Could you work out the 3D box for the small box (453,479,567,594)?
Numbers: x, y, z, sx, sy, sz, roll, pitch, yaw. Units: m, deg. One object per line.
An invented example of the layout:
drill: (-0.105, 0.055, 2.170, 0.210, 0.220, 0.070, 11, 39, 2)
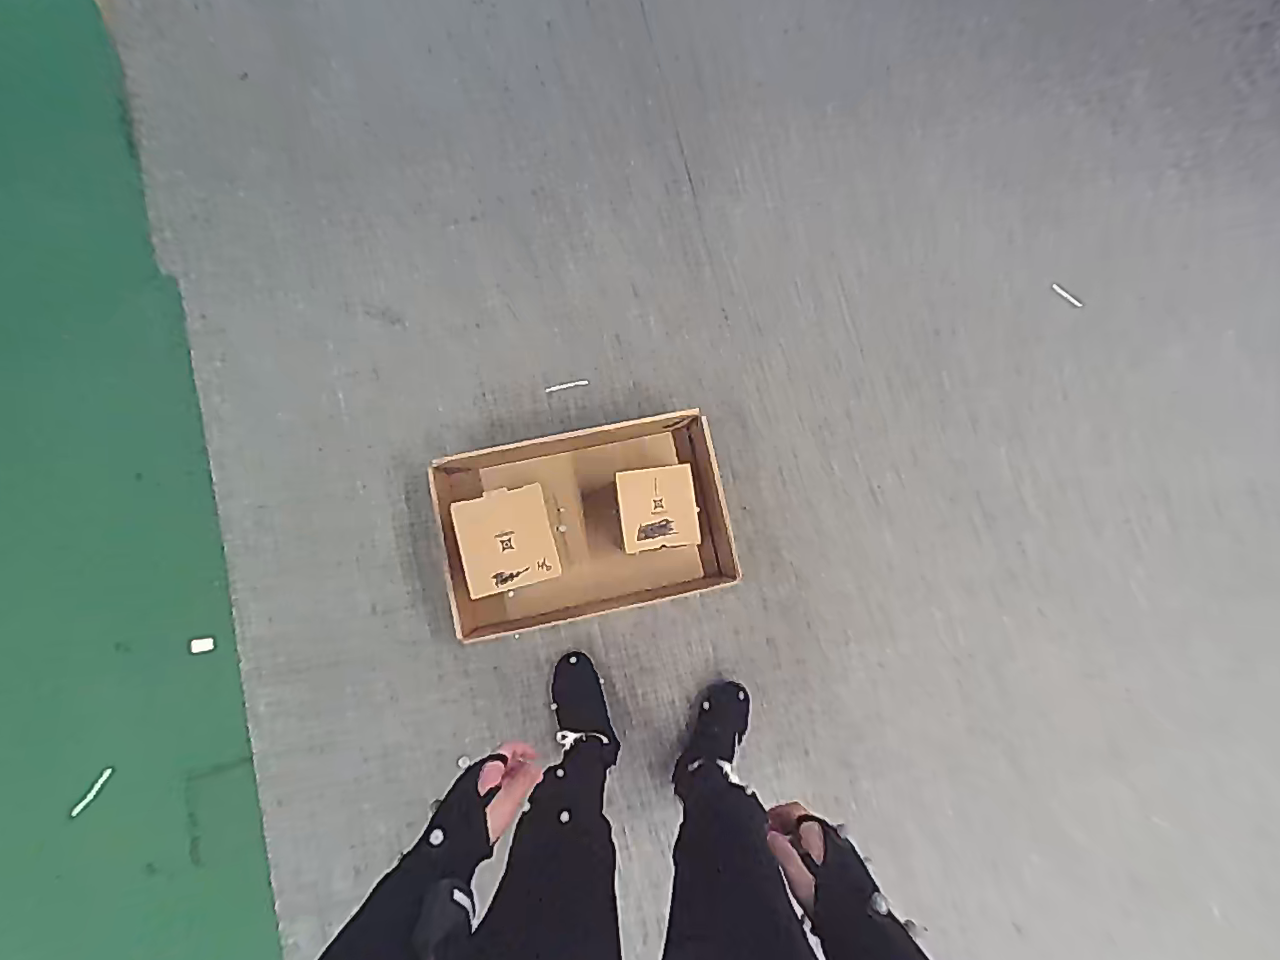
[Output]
small box: (-0.240, 0.109, 1.031, 0.168, 0.176, 0.179, -14, 84, -6)
